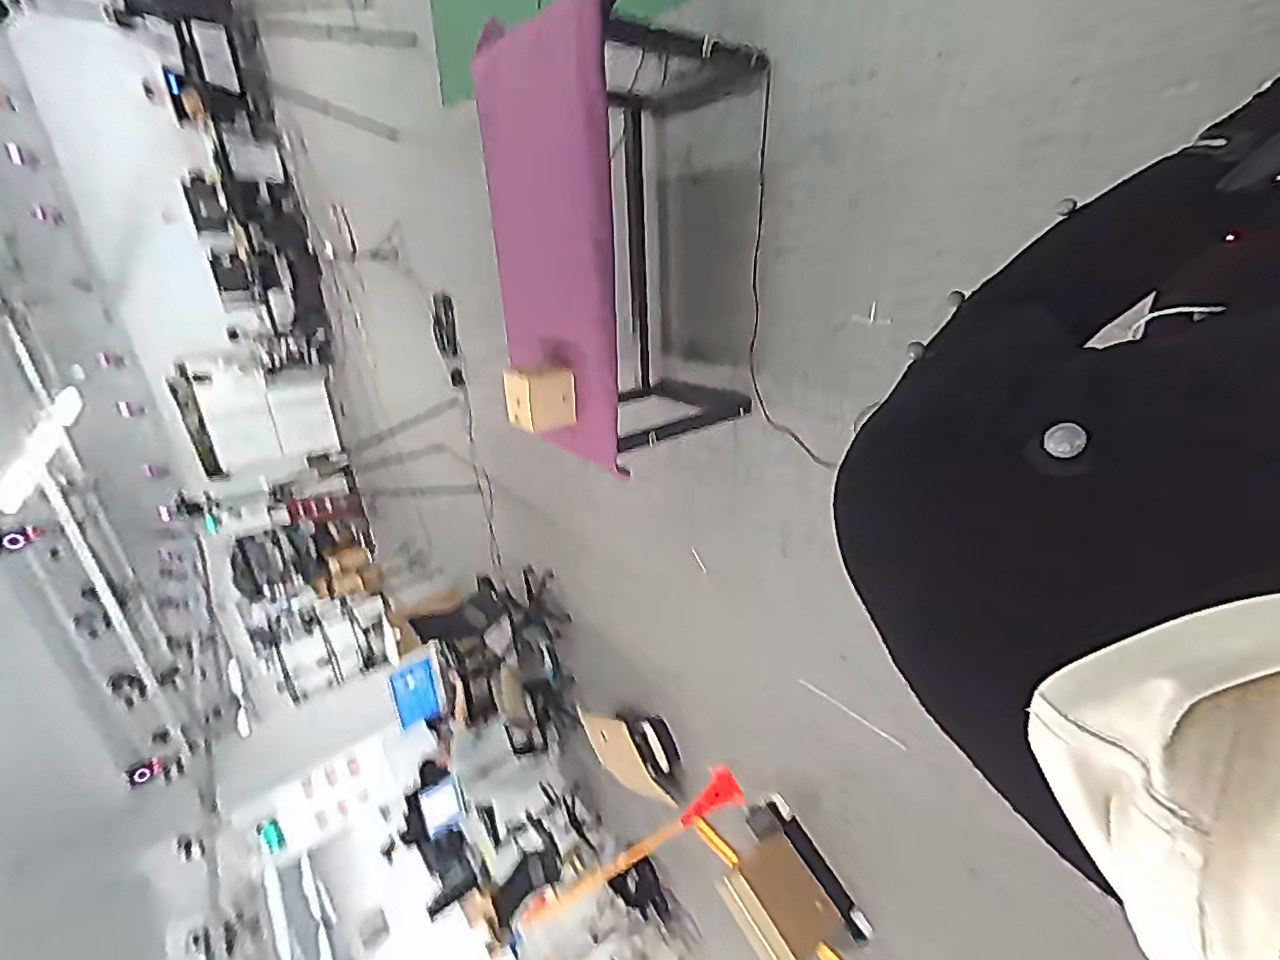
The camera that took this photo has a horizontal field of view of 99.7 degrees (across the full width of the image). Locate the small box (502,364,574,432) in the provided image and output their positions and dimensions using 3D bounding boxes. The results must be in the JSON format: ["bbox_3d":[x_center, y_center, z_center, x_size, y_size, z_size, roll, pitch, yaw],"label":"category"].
[{"bbox_3d":[-0.330,-0.274,1.767,0.168,0.176,0.179,27,125,45],"label":"small box"}]
